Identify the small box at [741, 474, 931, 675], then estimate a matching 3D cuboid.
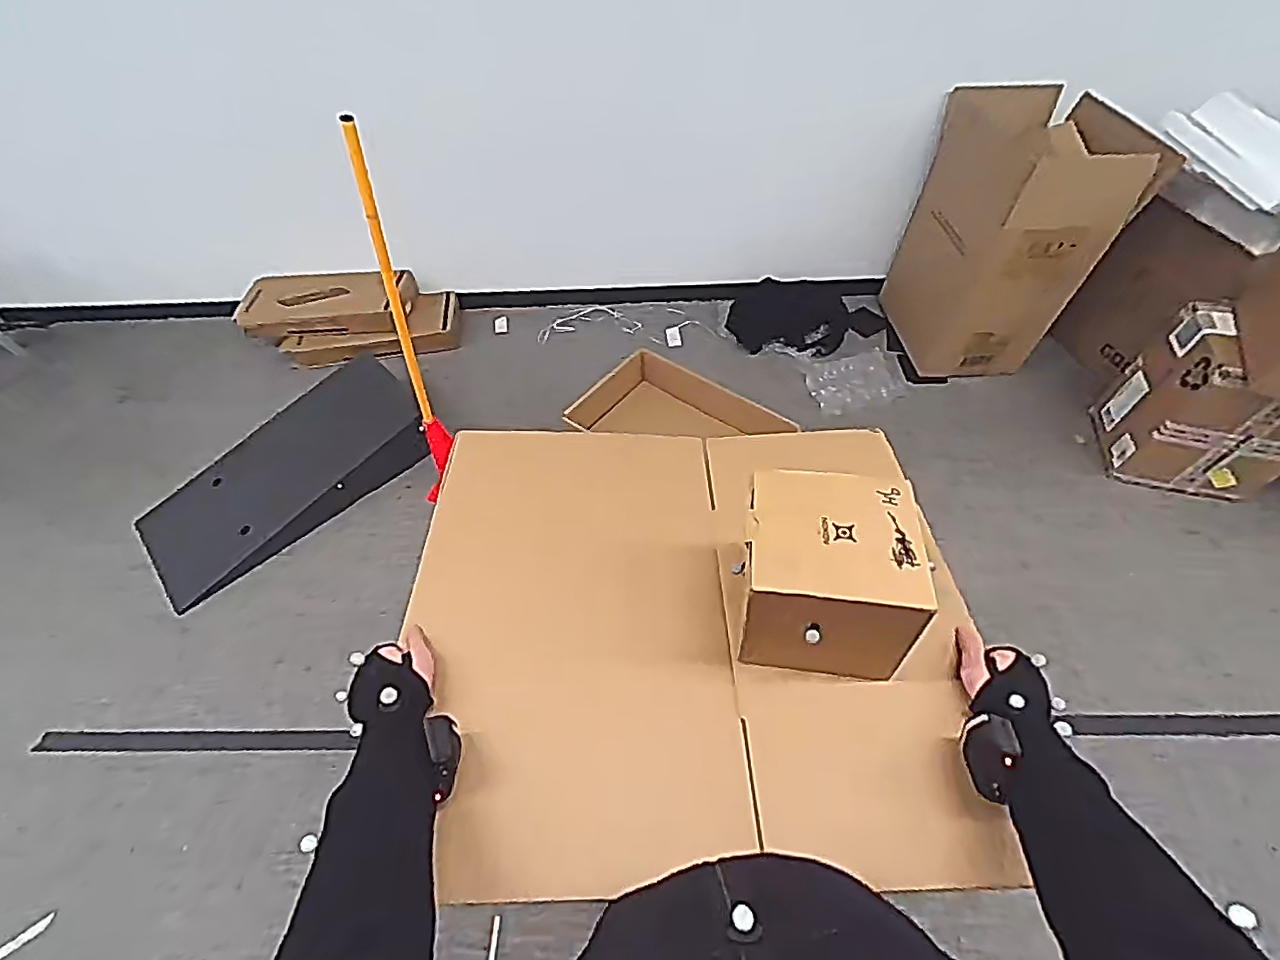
[{"bbox_3d":[0.213,0.112,0.636,0.179,0.176,0.168,4,49,10],"label":"small box"}]
